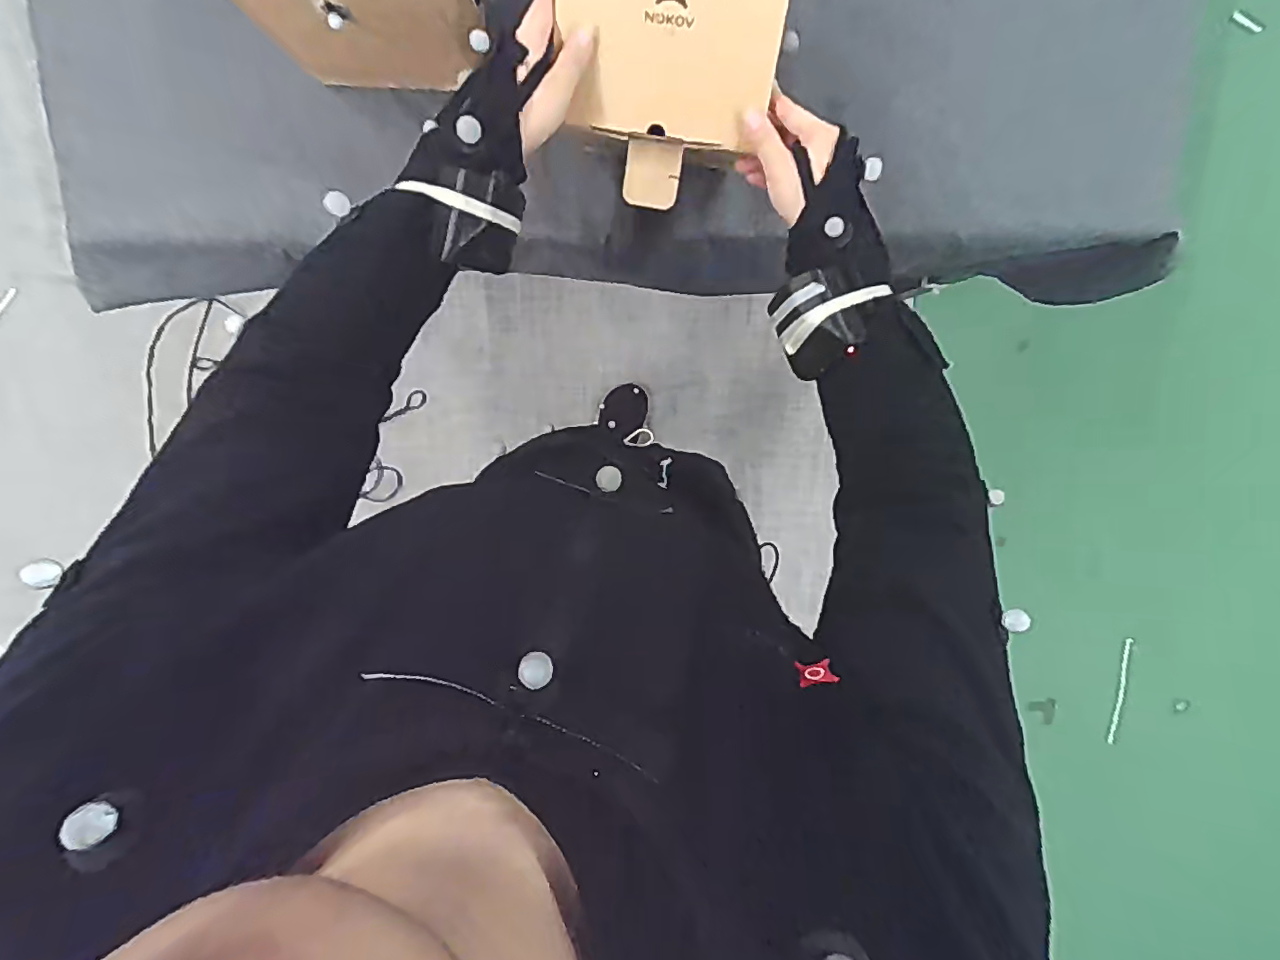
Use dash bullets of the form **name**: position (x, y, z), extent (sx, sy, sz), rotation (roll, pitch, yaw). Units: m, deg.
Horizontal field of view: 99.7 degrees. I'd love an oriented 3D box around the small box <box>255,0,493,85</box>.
- **small box**: position (-0.239, -0.476, 0.469), extent (0.179, 0.176, 0.168), rotation (2, 102, 0)
